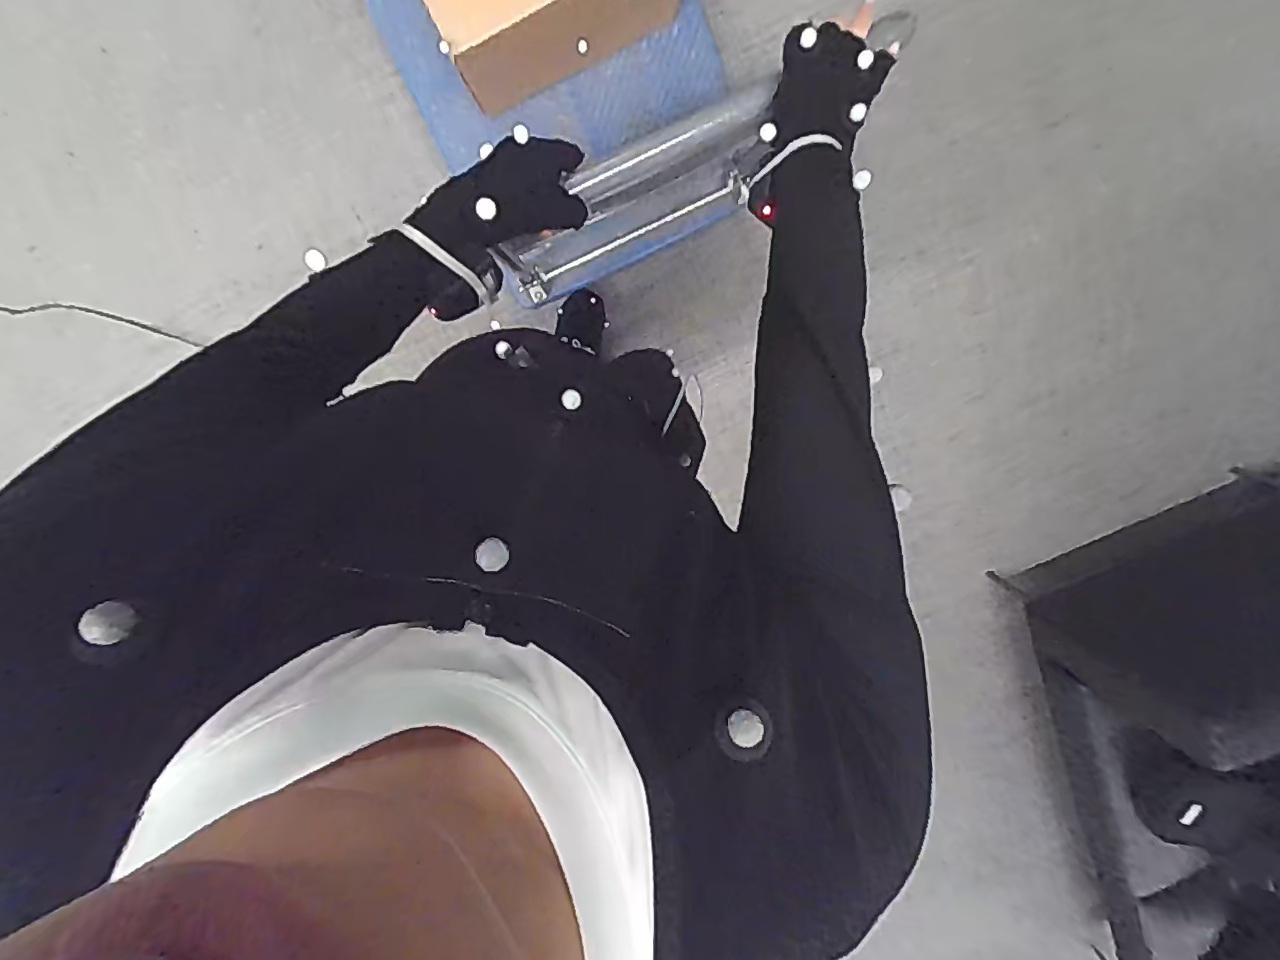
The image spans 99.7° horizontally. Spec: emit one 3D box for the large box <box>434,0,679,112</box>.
[{"bbox_3d":[-0.156,-0.881,0.859,0.408,0.320,0.320,-26,109,5],"label":"large box"}]
